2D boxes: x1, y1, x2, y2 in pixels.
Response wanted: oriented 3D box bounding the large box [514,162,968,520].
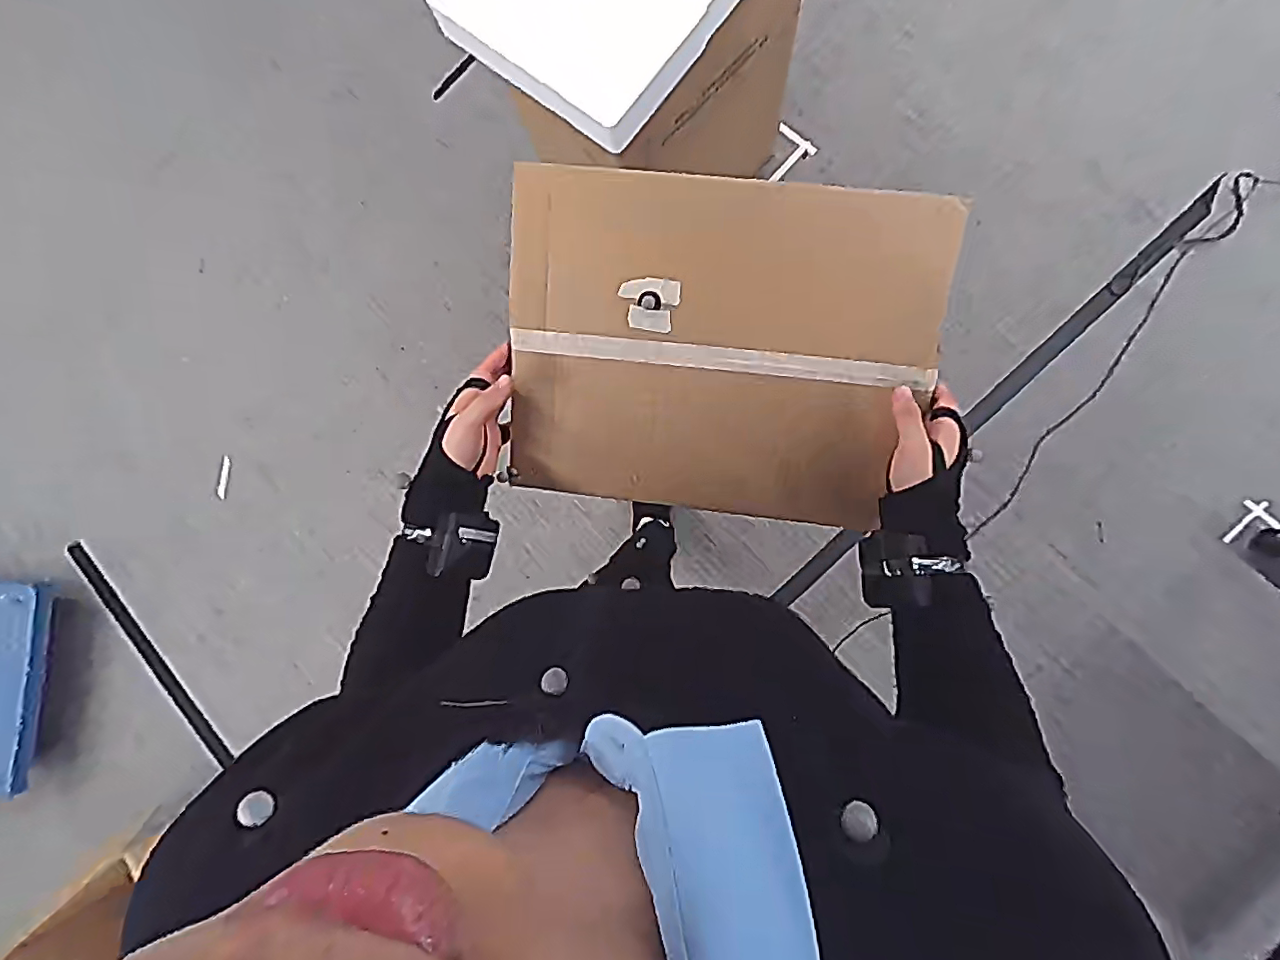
[{"bbox_3d":[0.092,-0.168,0.661,0.408,0.320,0.320,7,107,5],"label":"large box"}]
